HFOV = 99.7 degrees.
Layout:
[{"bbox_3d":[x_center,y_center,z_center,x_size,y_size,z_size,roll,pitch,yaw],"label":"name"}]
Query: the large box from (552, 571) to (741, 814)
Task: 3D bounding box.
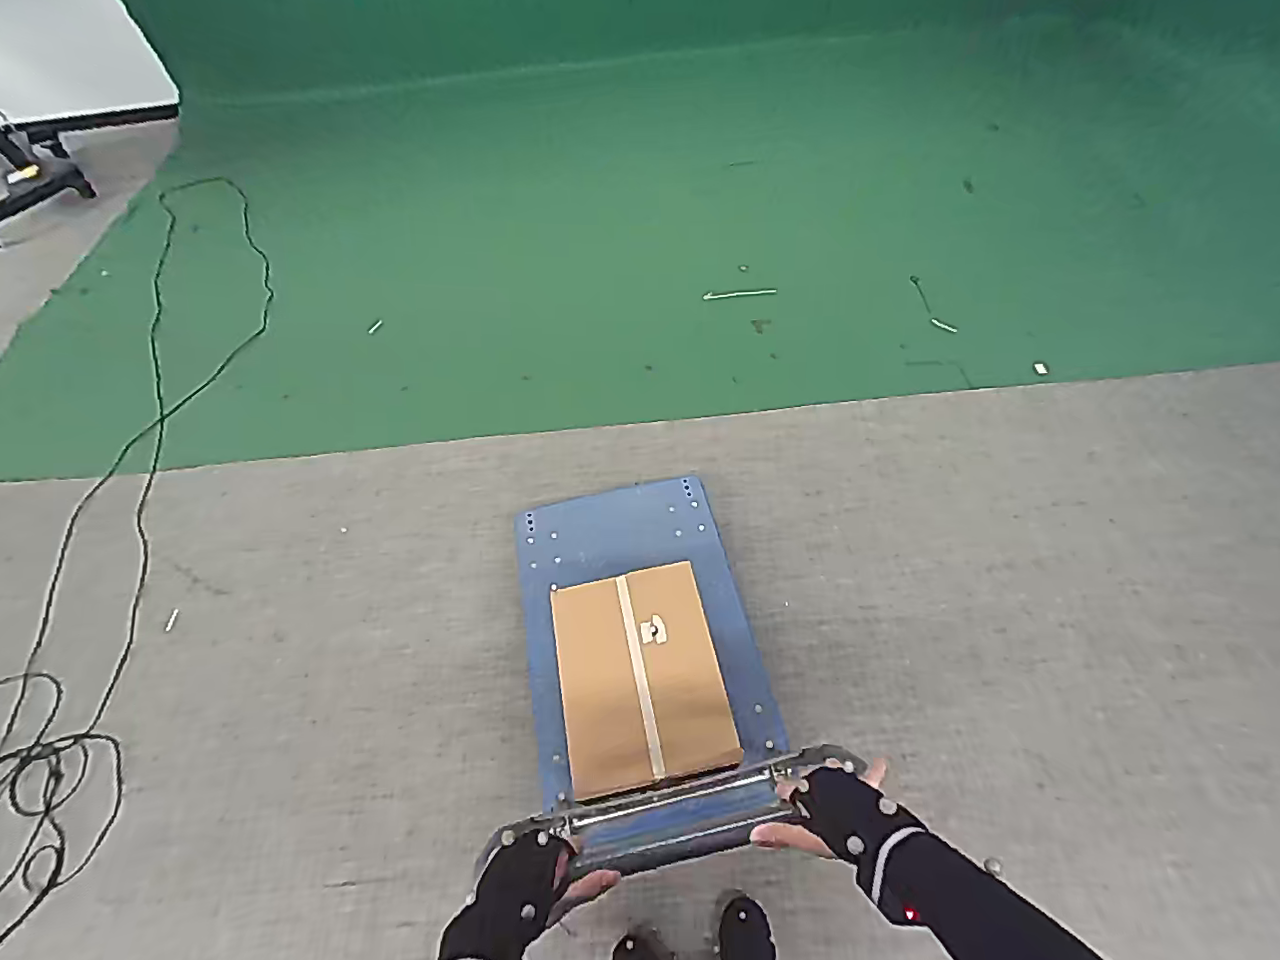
[{"bbox_3d":[0.009,0.475,1.204,0.320,0.320,0.408,-12,56,-3],"label":"large box"}]
